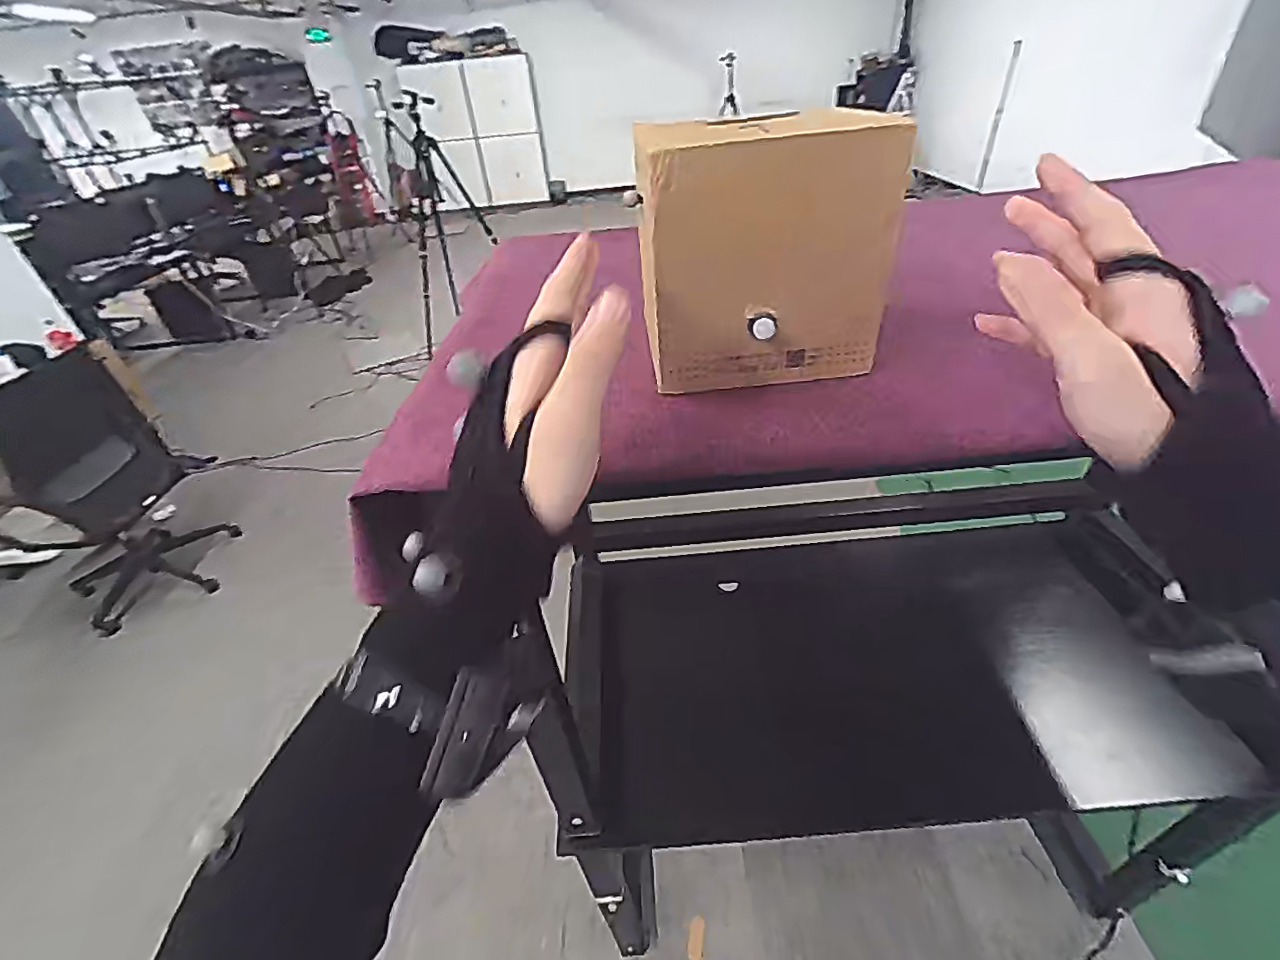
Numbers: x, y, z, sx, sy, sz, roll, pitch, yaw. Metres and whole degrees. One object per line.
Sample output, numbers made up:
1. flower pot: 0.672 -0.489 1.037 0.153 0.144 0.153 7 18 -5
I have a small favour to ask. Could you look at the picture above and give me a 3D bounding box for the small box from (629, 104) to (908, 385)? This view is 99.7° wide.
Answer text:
1. small box: 0.080 -0.192 0.435 0.168 0.176 0.179 -6 37 0
